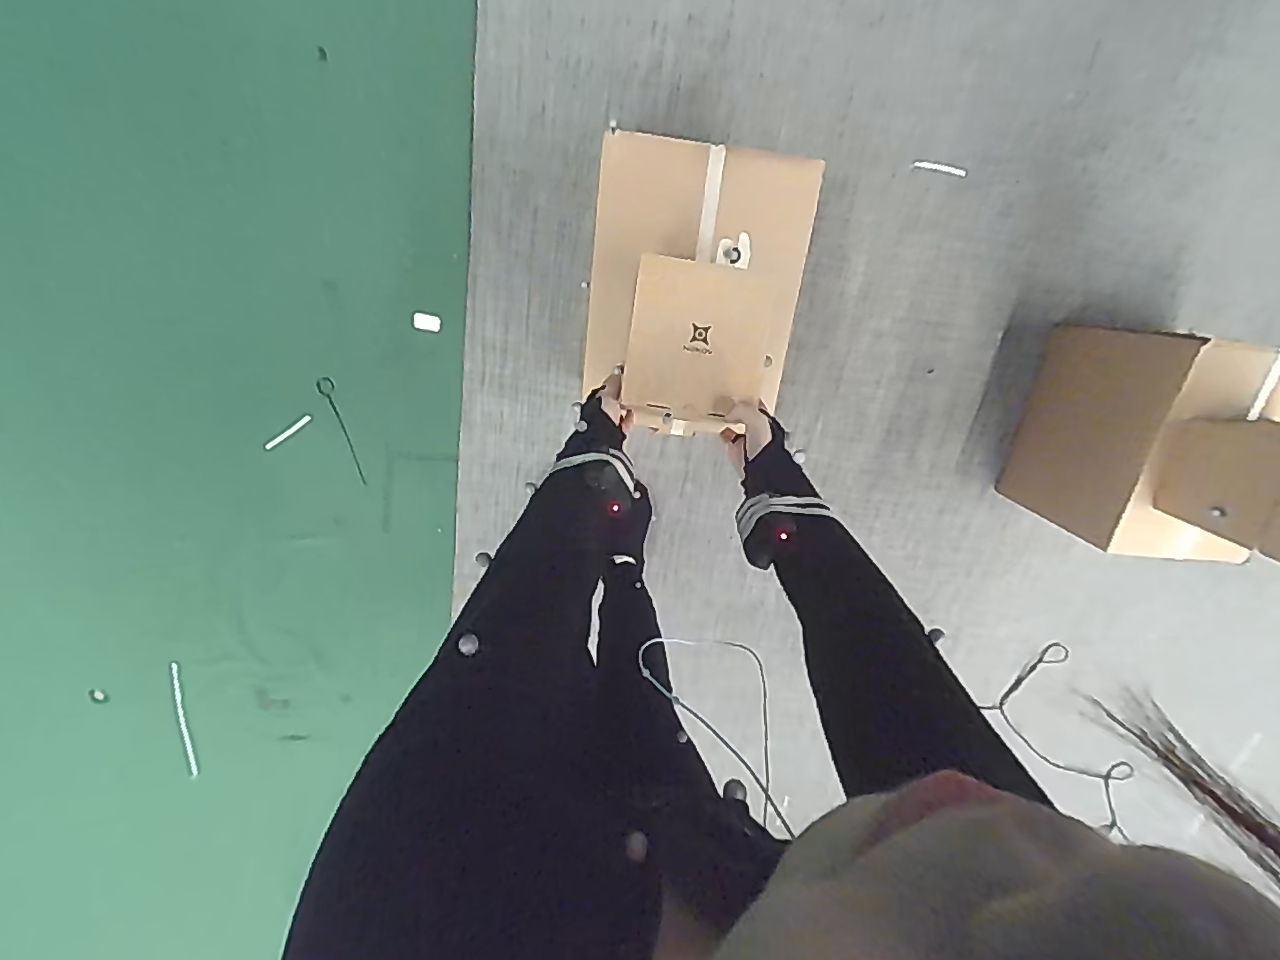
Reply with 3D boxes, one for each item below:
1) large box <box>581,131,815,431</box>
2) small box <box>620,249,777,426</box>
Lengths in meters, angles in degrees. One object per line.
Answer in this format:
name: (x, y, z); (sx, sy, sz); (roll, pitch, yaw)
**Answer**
large box: (0.069, -0.325, 0.949); (0.320, 0.320, 0.408); (5, 110, -6)
small box: (0.066, -0.175, 0.716); (0.168, 0.176, 0.179); (8, 91, -4)
